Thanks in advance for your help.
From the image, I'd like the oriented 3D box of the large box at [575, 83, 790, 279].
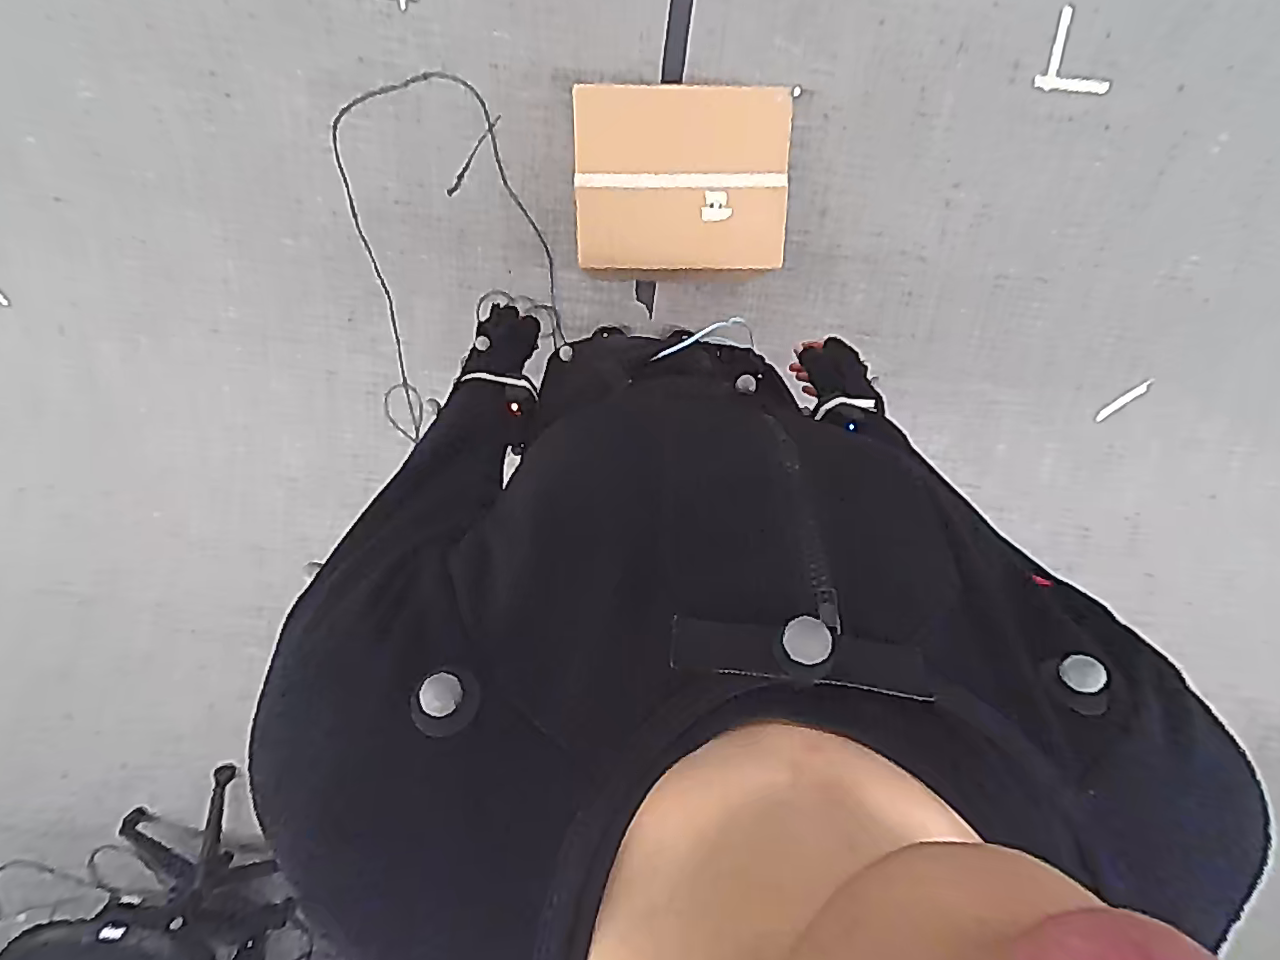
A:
[{"bbox_3d":[0.074,-0.616,1.172,0.408,0.320,0.320,0,106,-2],"label":"large box"}]
